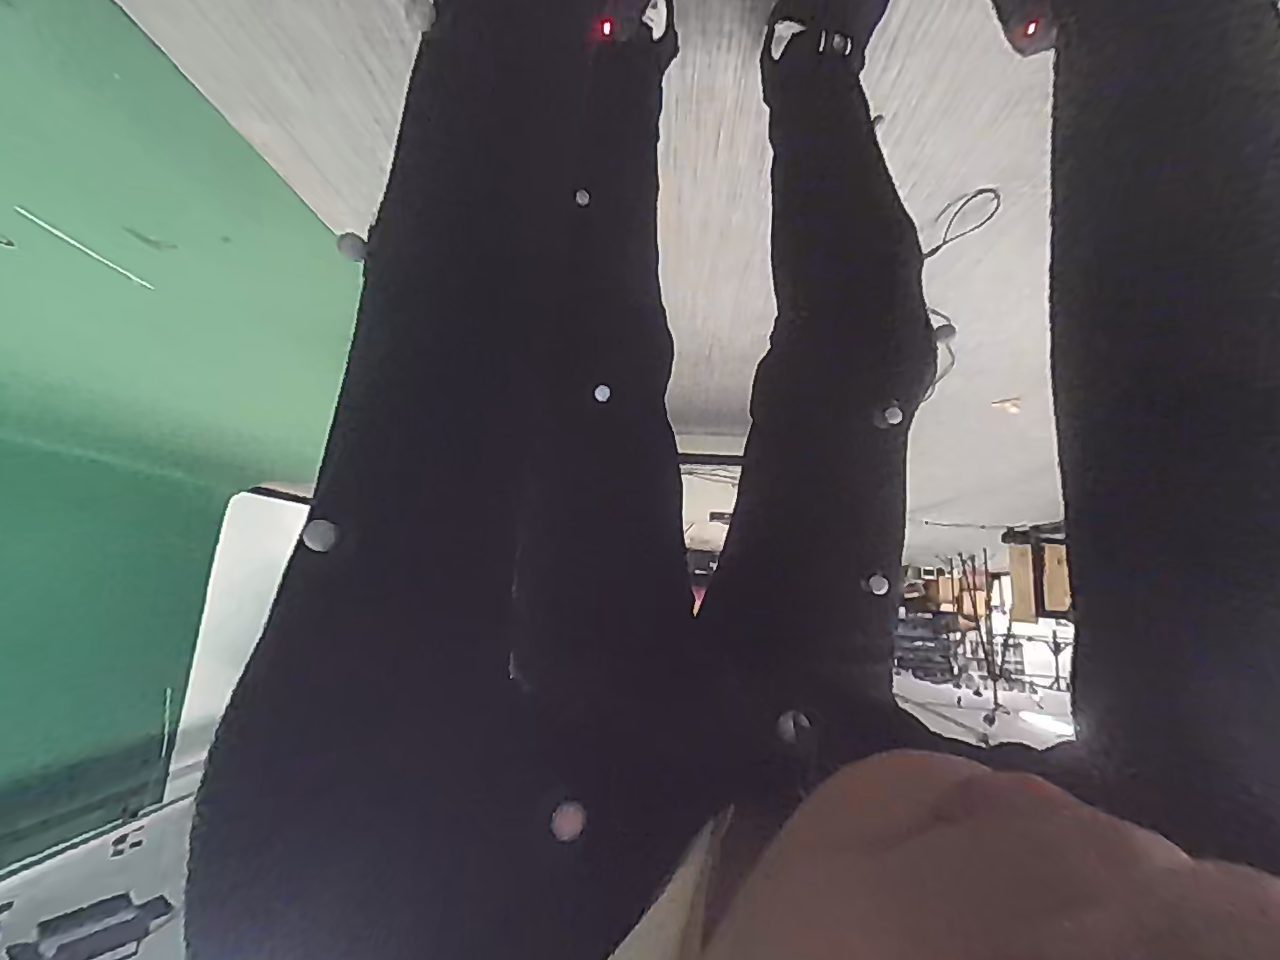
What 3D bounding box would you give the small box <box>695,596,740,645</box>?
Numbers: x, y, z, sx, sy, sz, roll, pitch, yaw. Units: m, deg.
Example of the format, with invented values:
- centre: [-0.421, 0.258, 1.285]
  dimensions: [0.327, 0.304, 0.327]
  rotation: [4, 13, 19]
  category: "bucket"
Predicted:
- centre: [0.312, 0.561, 2.174]
  dimensions: [0.168, 0.176, 0.179]
  rotation: [3, 168, 6]
  category: "small box"
